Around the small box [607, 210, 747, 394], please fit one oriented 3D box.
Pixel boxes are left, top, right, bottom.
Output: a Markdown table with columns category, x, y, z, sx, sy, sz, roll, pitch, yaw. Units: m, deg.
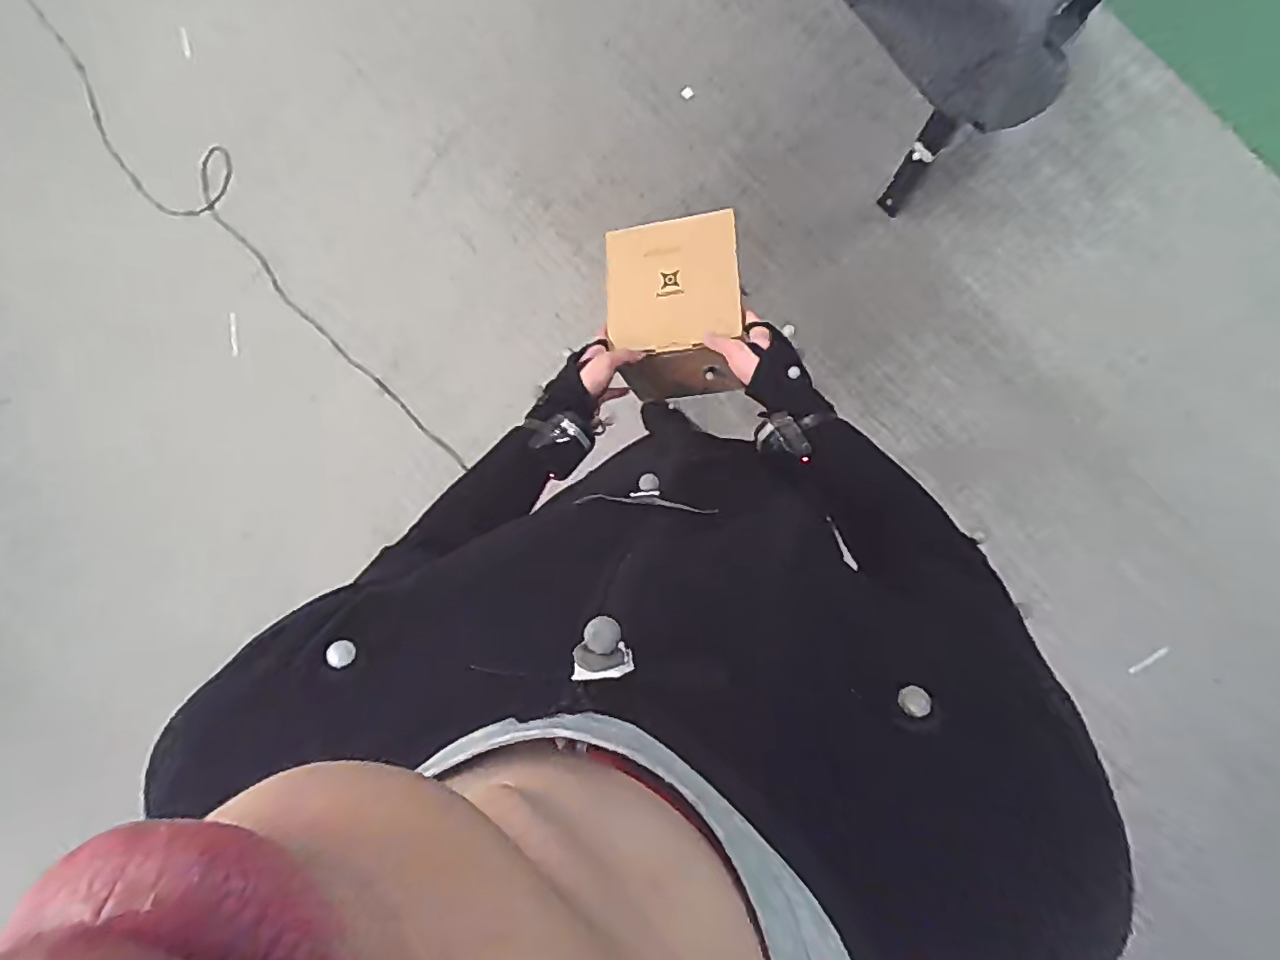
| category | x | y | z | sx | sy | sz | roll | pitch | yaw |
| --- | --- | --- | --- | --- | --- | --- | --- | --- | --- |
| small box | 0.056 | -0.226 | 0.739 | 0.168 | 0.176 | 0.179 | -4 | 76 | 12 |
